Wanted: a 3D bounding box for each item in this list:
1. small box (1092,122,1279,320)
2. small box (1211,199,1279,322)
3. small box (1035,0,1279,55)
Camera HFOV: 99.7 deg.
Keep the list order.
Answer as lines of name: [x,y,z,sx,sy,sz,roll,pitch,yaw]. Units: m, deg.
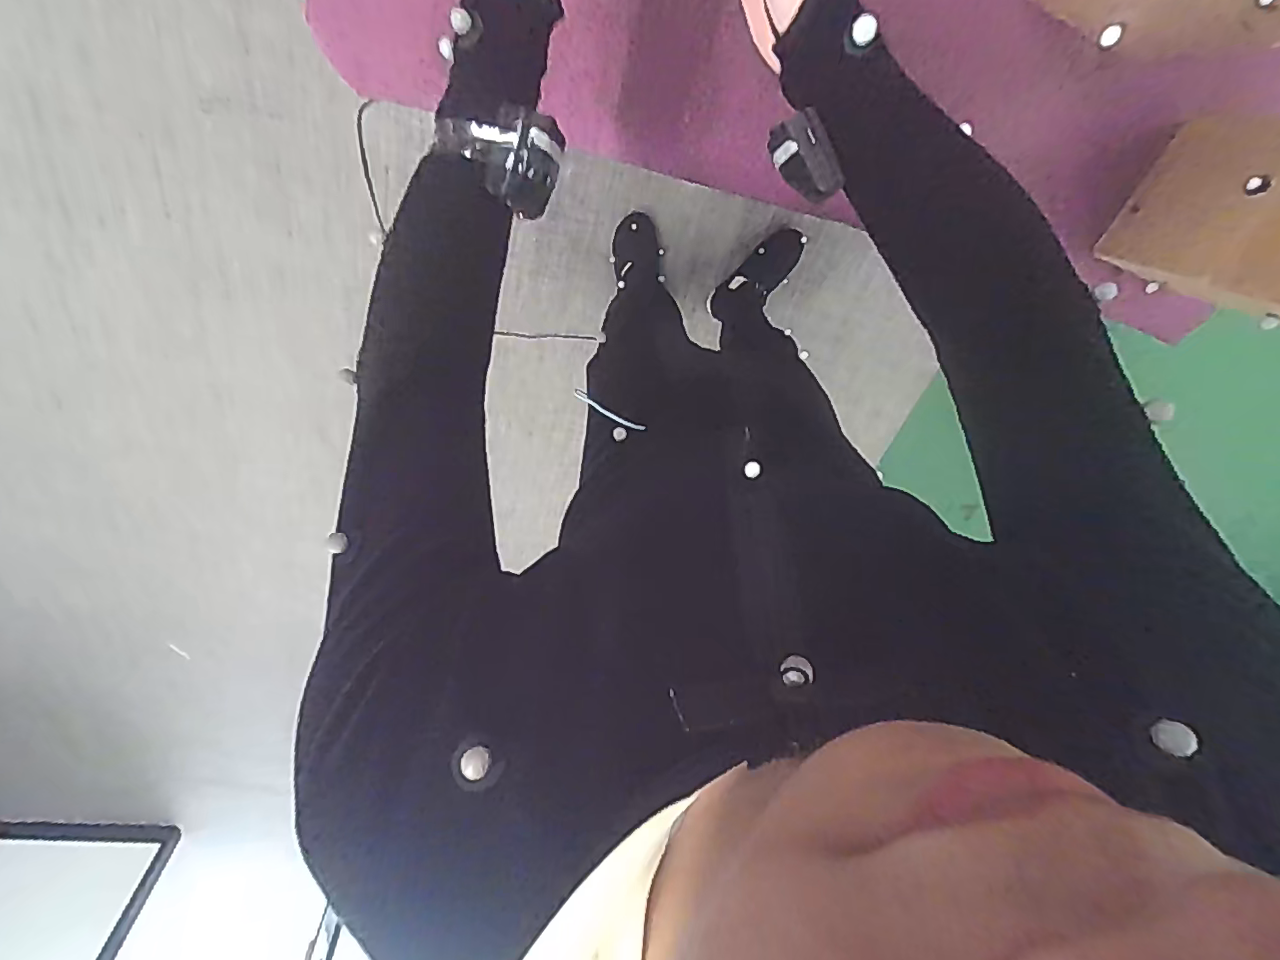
small box: [0.731,-0.320,0.662,0.179,0.176,0.168,14,121,-13]
small box: [0.747,-0.231,0.524,0.168,0.176,0.179,15,121,-13]
small box: [0.526,-0.530,0.496,0.168,0.176,0.179,14,122,-14]
